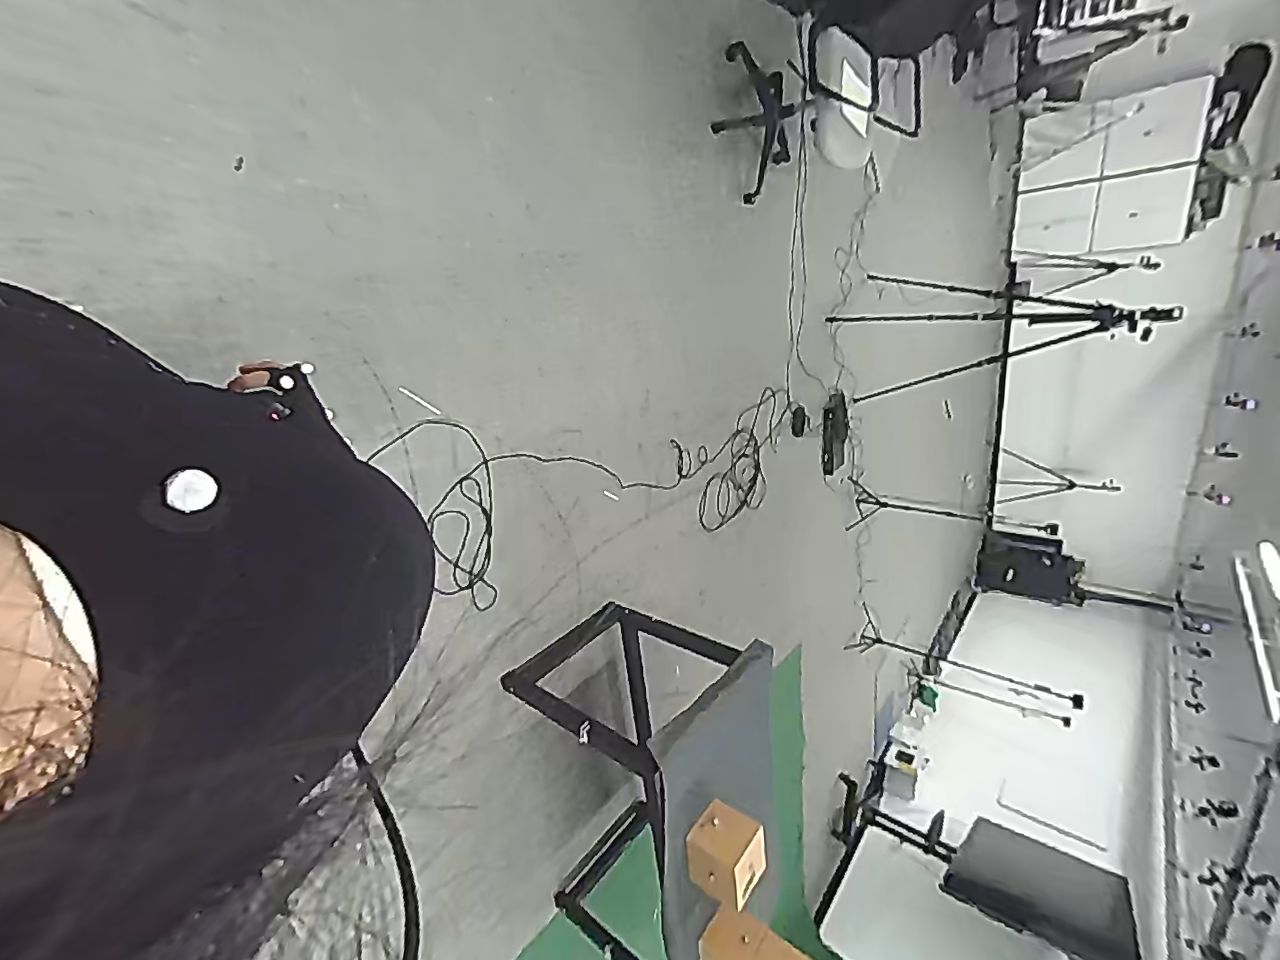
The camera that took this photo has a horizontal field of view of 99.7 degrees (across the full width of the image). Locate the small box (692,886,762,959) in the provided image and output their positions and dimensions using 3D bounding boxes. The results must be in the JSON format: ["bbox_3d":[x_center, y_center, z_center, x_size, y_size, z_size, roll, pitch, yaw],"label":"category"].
[{"bbox_3d":[0.281,1.494,1.773,0.179,0.176,0.168,-27,118,-45],"label":"small box"}]

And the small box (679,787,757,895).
[{"bbox_3d":[0.235,1.076,1.626,0.168,0.176,0.179,-26,116,-45],"label":"small box"}]
